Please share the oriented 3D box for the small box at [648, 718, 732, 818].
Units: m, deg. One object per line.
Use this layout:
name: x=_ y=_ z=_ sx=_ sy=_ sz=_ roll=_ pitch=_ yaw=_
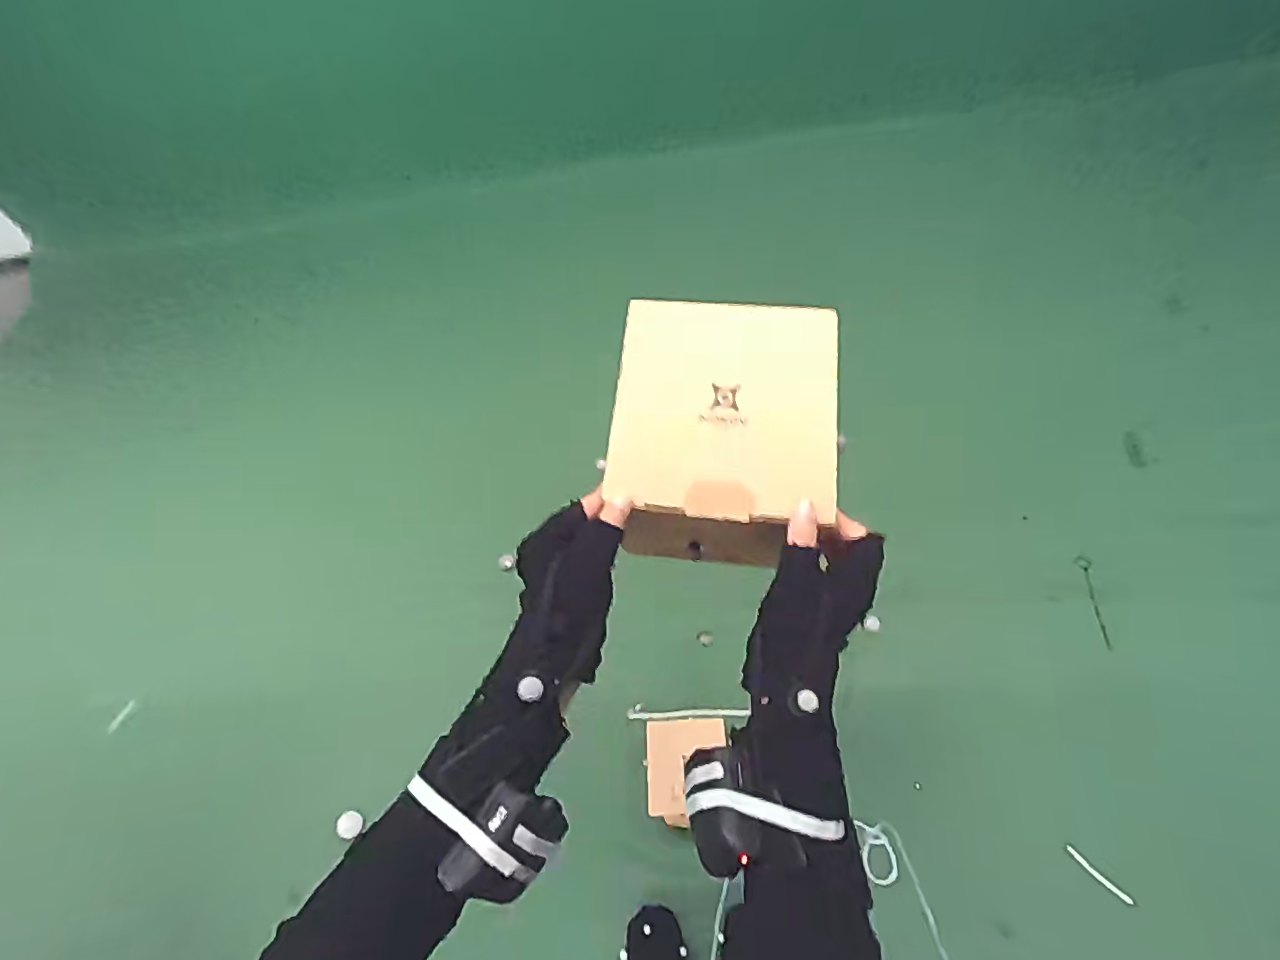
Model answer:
small box: x=0.107 y=0.624 z=1.164 sx=0.168 sy=0.176 sz=0.179 roll=-6 pitch=57 yaw=7
